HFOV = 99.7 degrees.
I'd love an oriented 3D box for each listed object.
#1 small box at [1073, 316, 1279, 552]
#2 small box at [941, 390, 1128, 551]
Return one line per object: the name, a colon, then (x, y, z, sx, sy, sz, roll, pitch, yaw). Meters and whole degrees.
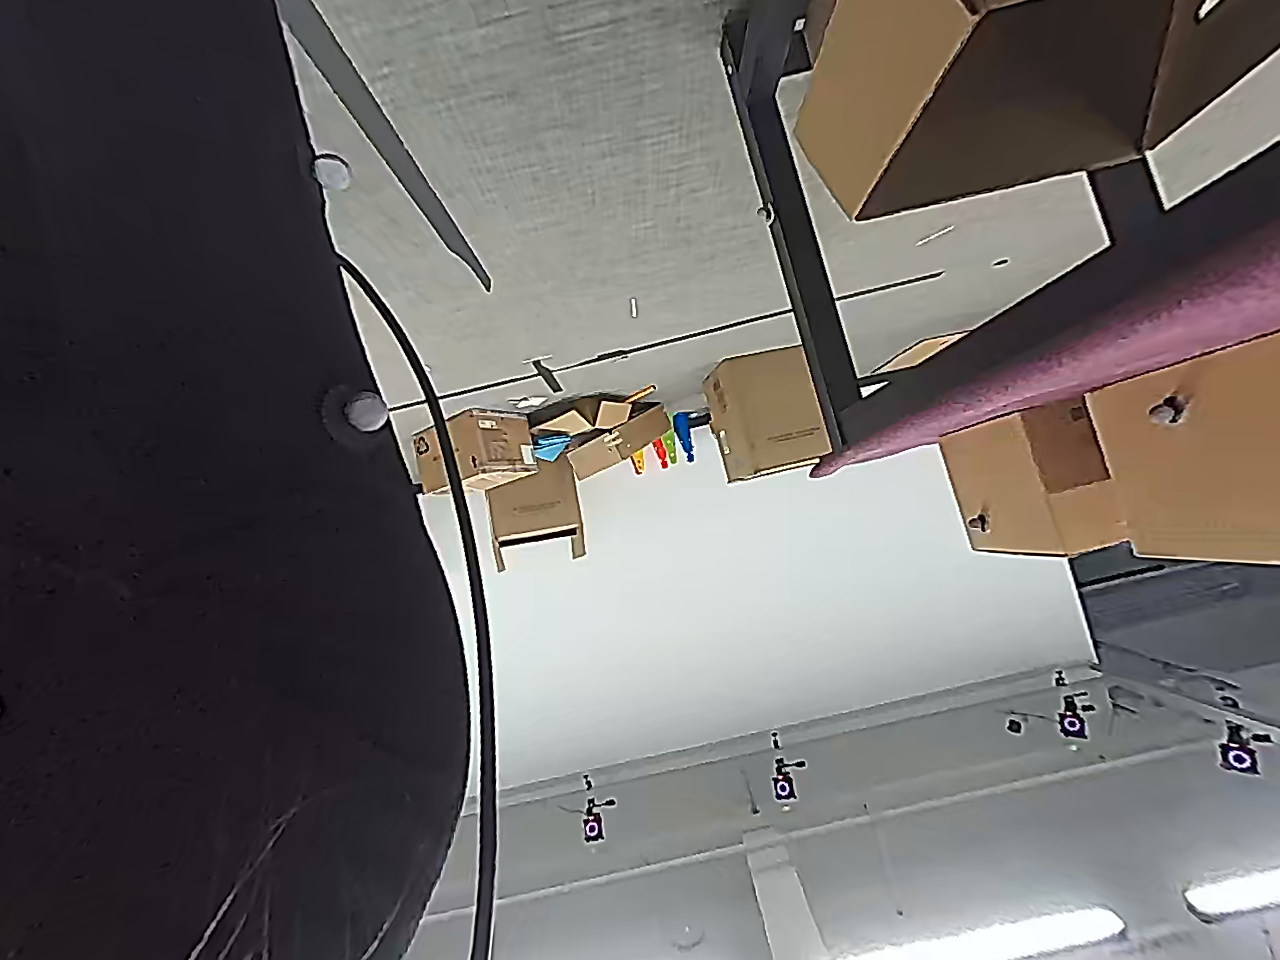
small box: (0.522, -0.041, 0.440, 0.168, 0.176, 0.179, -15, 174, -1)
small box: (0.514, -0.015, 0.684, 0.168, 0.176, 0.179, -16, 175, -1)
